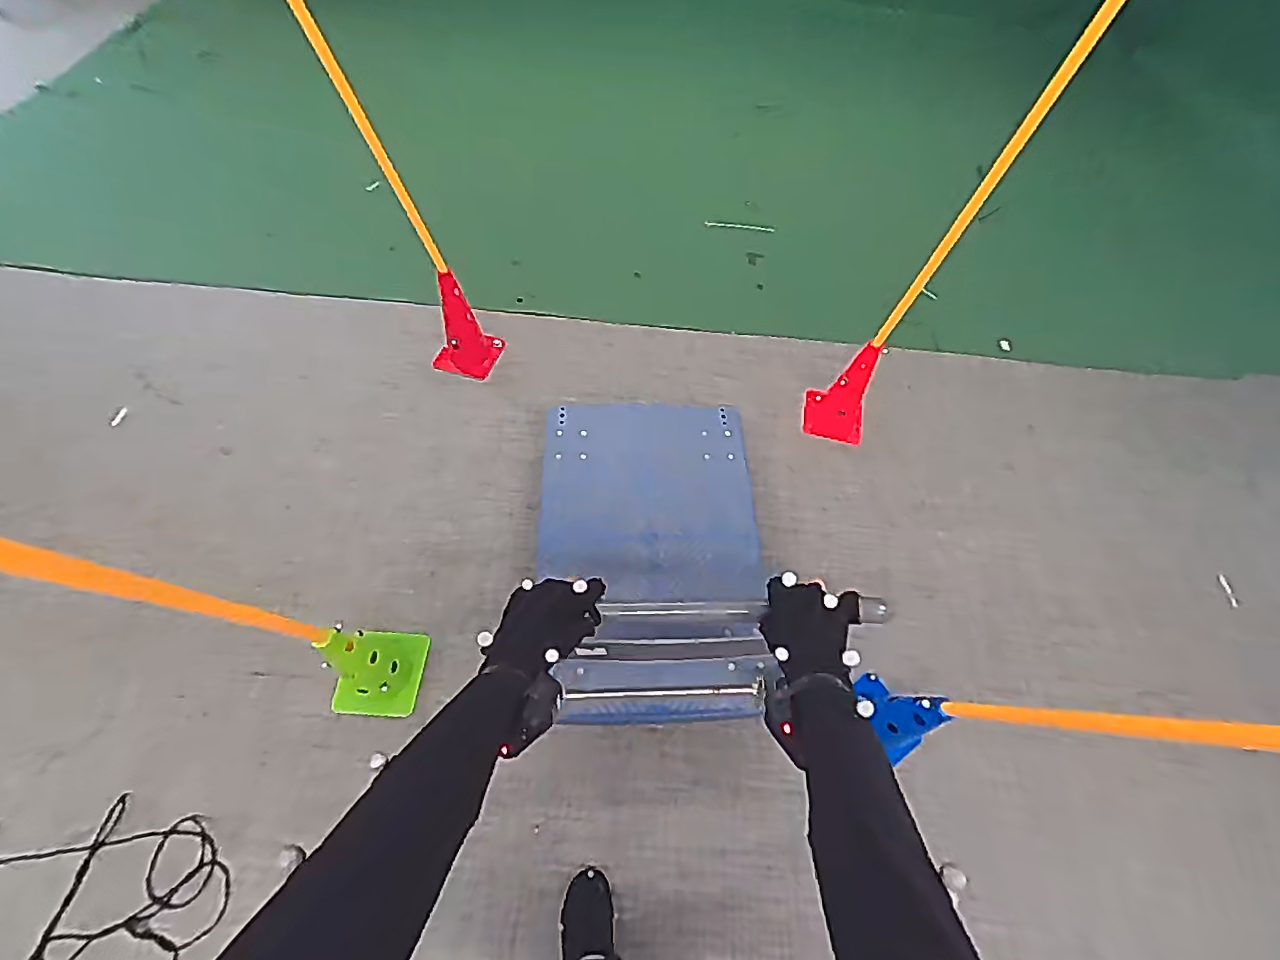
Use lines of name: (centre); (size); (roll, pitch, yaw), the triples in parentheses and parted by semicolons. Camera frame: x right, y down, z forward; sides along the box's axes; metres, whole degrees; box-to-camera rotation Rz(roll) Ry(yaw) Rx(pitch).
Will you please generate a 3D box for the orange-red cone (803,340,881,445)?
orange-red cone: (0.673, -0.301, 1.711); (0.198, 0.360, 0.199); (14, 61, 6)
